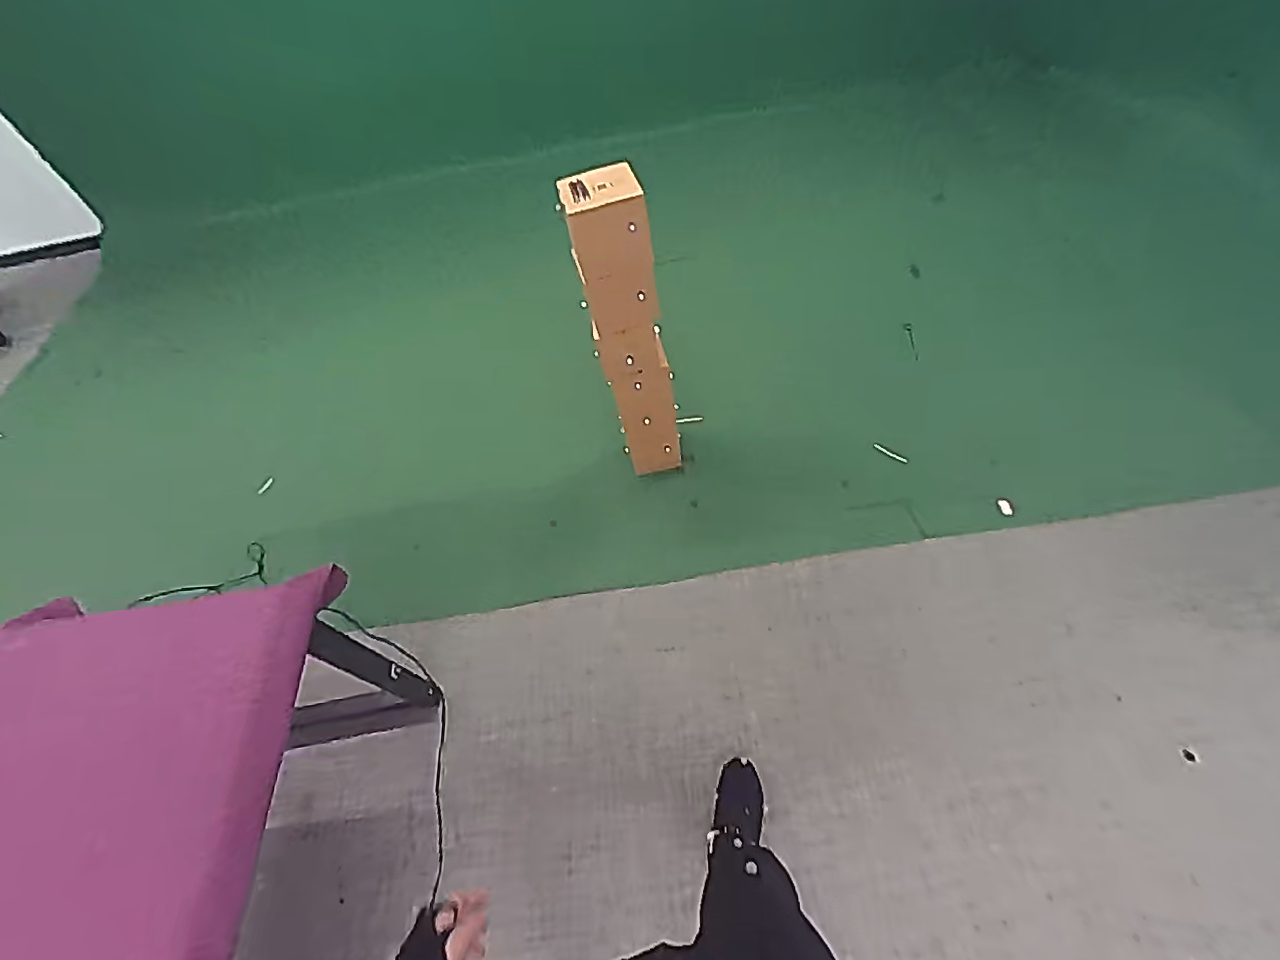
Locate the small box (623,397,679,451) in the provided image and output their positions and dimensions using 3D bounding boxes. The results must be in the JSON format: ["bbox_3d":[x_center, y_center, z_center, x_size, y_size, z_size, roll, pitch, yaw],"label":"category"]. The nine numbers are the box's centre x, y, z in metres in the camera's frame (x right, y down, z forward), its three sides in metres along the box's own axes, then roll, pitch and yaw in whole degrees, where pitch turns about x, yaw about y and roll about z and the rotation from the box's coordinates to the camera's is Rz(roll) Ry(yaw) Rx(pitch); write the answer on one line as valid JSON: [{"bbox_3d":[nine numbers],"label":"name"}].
[{"bbox_3d":[0.033,-0.221,1.807,0.179,0.176,0.168,-12,54,2],"label":"small box"}]

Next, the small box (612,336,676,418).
[{"bbox_3d":[0.004,-0.313,1.675,0.179,0.176,0.168,-13,54,0],"label":"small box"}]

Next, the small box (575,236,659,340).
[{"bbox_3d":[-0.054,-0.497,1.412,0.179,0.176,0.168,-18,53,-1],"label":"small box"}]

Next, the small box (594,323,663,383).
[{"bbox_3d":[-0.033,-0.394,1.538,0.168,0.176,0.179,-10,55,3],"label":"small box"}]

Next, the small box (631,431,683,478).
[{"bbox_3d":[0.055,-0.128,1.938,0.179,0.176,0.168,-13,53,1],"label":"small box"}]
